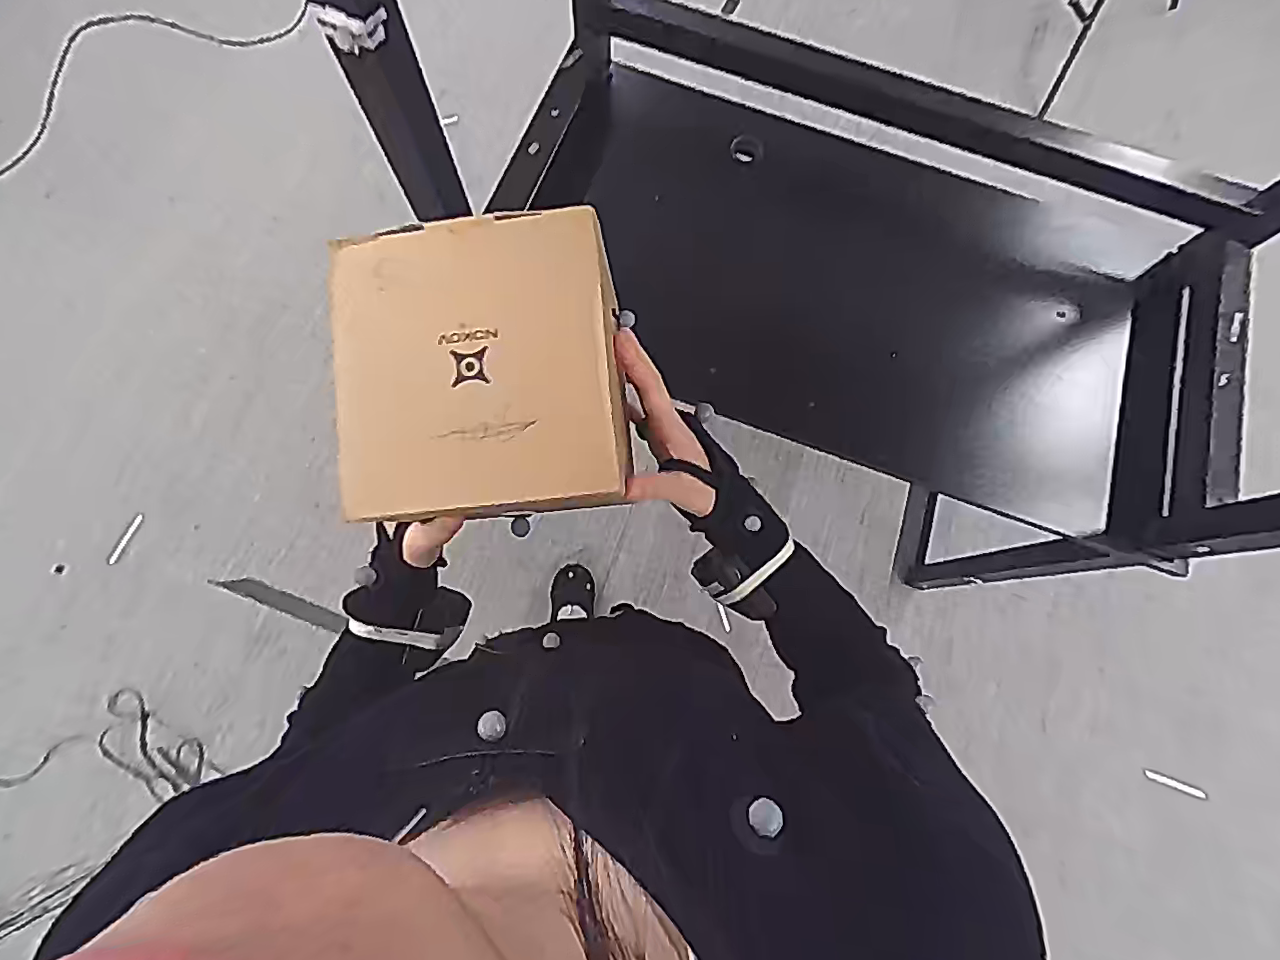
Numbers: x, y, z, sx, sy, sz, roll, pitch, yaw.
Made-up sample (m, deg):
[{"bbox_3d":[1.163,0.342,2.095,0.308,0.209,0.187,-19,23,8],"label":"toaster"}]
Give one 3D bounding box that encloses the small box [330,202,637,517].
[{"bbox_3d":[-0.096,-0.067,0.399,0.168,0.176,0.179,-7,86,4],"label":"small box"}]
